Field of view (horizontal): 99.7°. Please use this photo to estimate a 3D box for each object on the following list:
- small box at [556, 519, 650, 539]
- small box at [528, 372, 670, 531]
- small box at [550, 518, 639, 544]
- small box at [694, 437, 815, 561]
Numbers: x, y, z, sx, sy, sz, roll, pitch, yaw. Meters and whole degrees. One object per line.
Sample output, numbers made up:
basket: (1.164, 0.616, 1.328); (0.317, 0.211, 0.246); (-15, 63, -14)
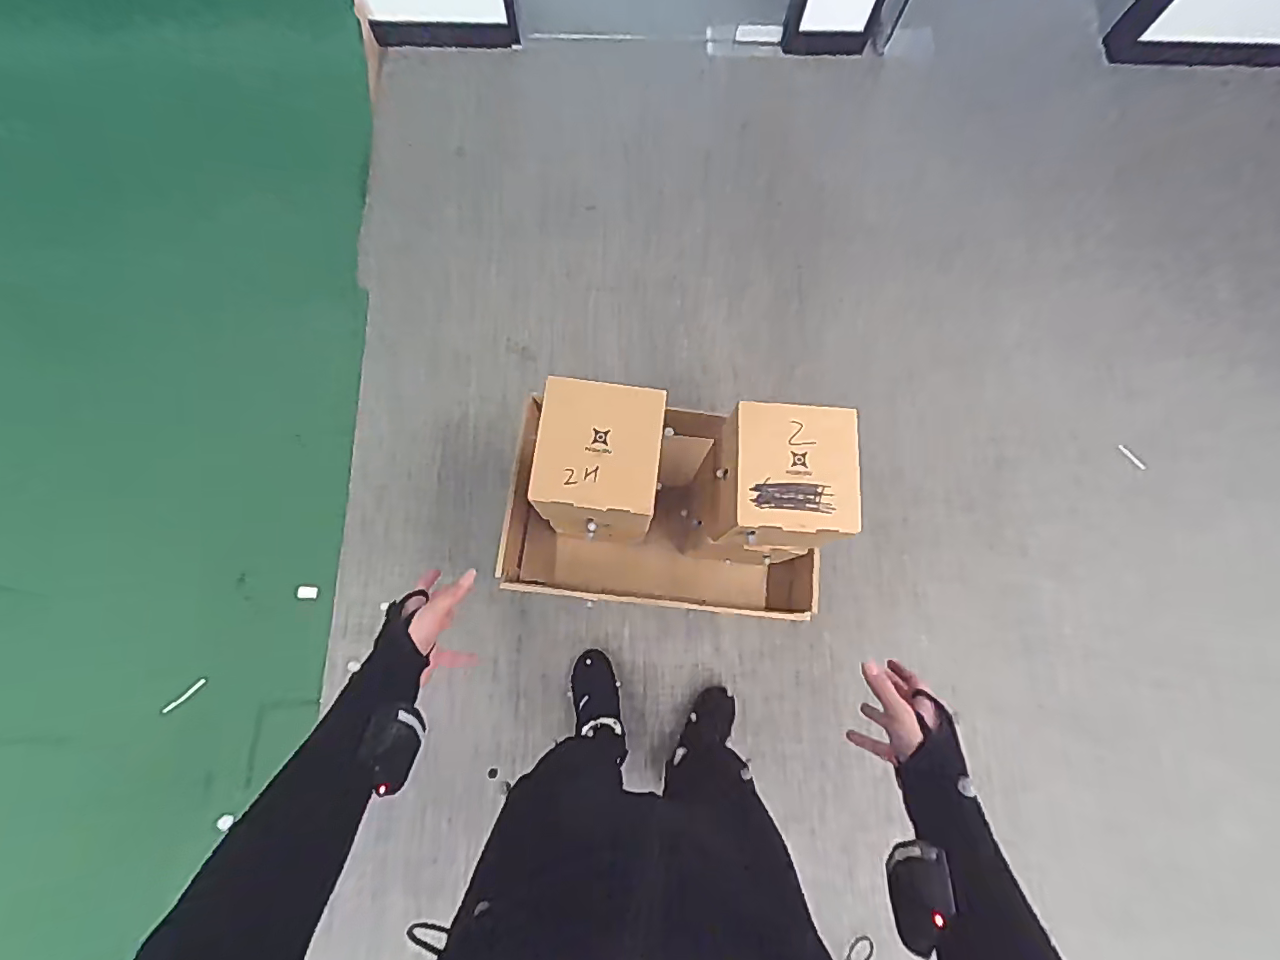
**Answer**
small box: (-0.060, -0.001, 0.945); (0.168, 0.176, 0.179); (7, 77, -1)
small box: (-0.056, -0.033, 0.783); (0.168, 0.176, 0.179); (8, 77, -1)
small box: (-0.076, 0.033, 1.104); (0.179, 0.176, 0.168); (8, 76, -1)
small box: (0.191, 0.042, 0.942); (0.168, 0.176, 0.179); (8, 76, -2)
